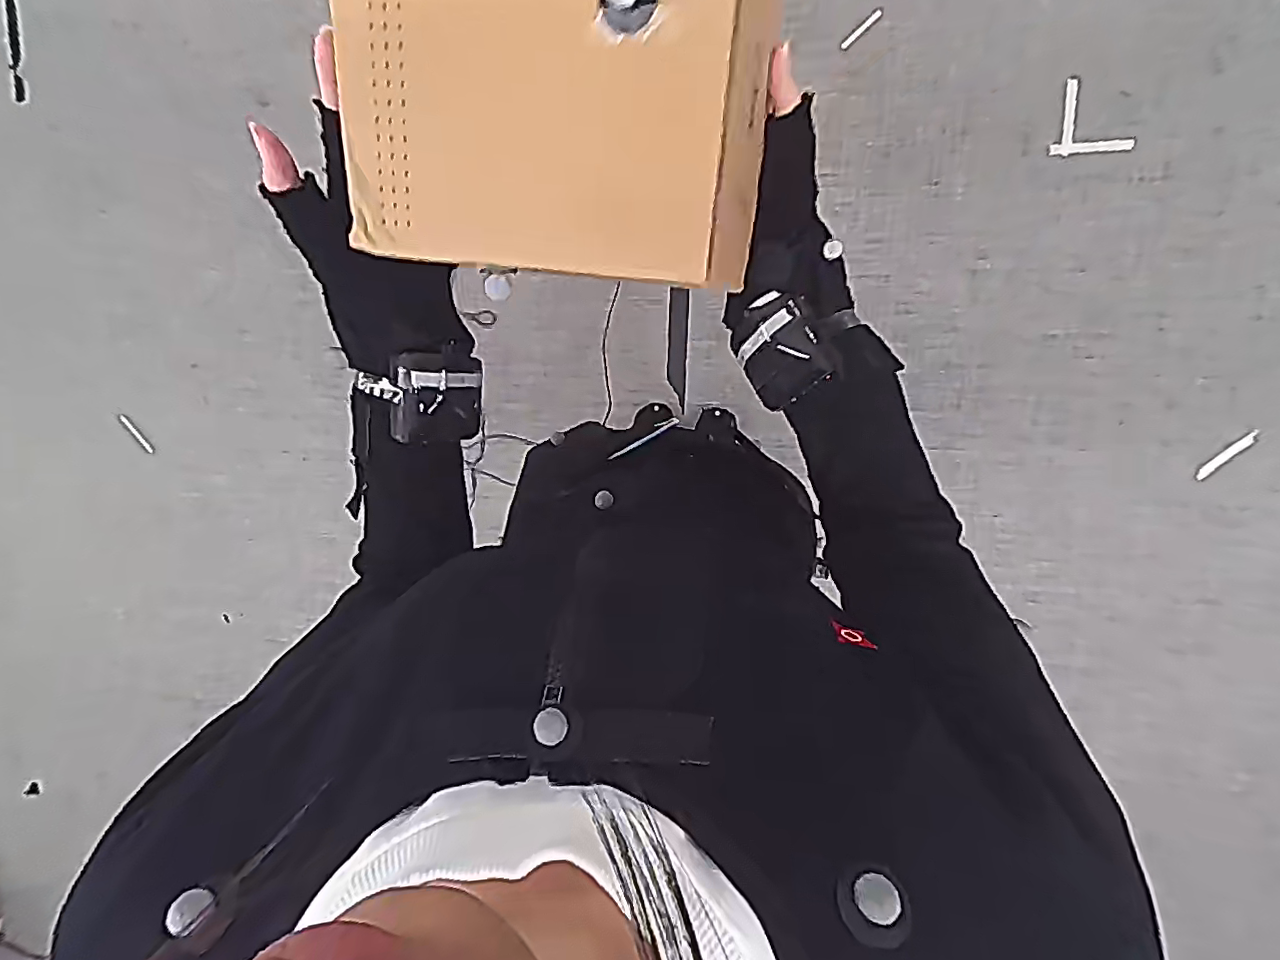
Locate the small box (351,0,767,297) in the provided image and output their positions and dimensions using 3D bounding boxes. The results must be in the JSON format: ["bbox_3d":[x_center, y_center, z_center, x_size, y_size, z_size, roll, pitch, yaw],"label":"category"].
[{"bbox_3d":[-0.031,-0.197,0.290,0.176,0.168,0.179,10,109,13],"label":"small box"}]
